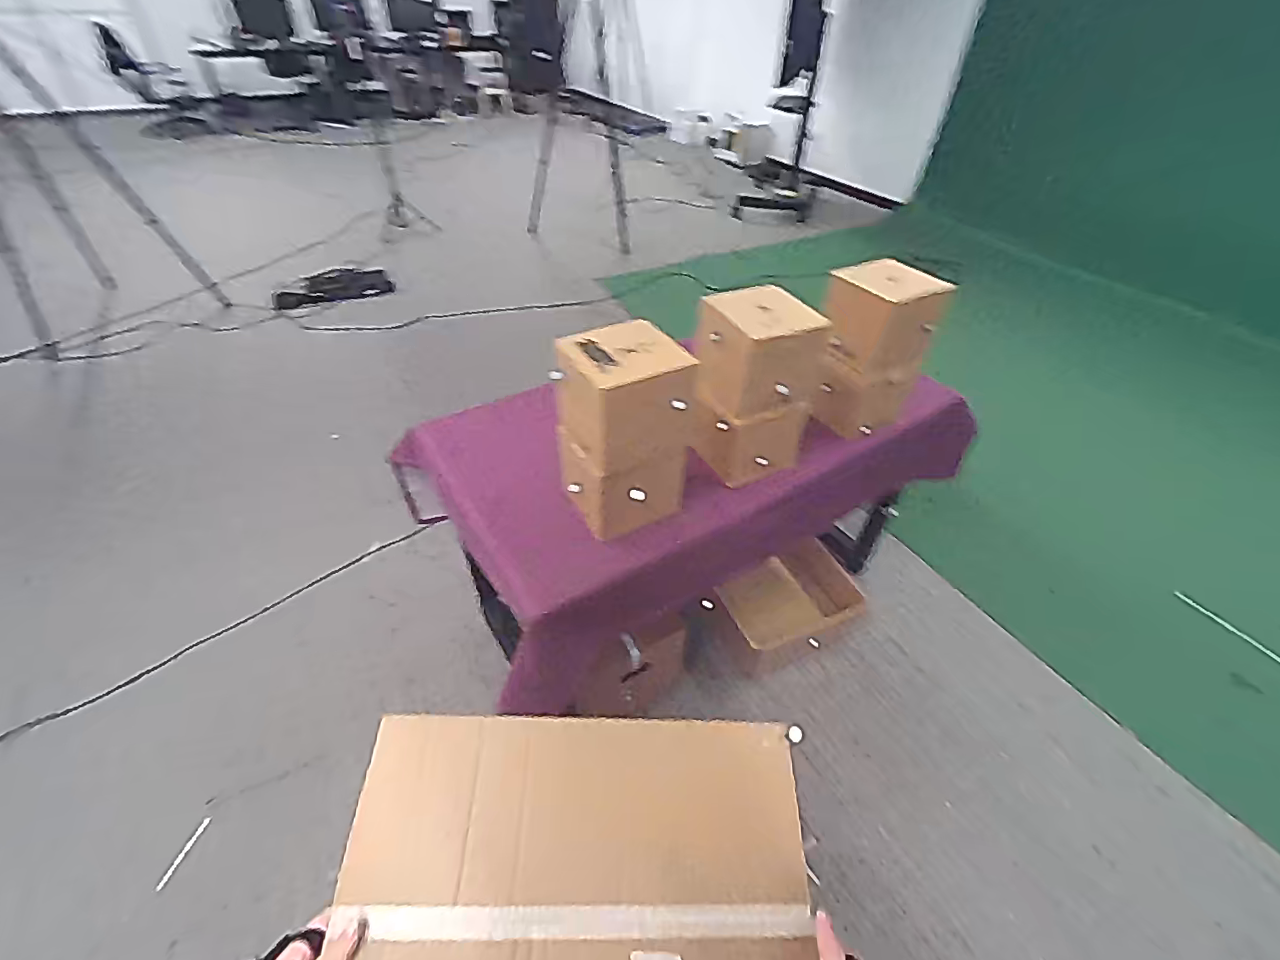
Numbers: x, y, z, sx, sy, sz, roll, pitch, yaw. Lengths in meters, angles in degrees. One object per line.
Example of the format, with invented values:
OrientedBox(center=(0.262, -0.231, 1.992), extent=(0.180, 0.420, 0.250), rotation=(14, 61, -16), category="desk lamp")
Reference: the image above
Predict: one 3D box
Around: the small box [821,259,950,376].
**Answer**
OrientedBox(center=(0.502, -0.344, 1.145), extent=(0.179, 0.176, 0.168), rotation=(-21, 47, -22), category="small box")

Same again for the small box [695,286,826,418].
OrientedBox(center=(0.217, -0.244, 1.029), extent=(0.168, 0.176, 0.179), rotation=(-17, 47, -18), category="small box")

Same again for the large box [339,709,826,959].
OrientedBox(center=(-0.054, 0.447, 0.580), extent=(0.408, 0.320, 0.320), rotation=(4, 56, -3), category="large box")

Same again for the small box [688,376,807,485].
OrientedBox(center=(0.214, -0.120, 1.137), extent=(0.168, 0.176, 0.179), rotation=(-18, 48, -19), category="small box")

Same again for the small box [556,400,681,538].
OrientedBox(center=(-0.039, -0.019, 1.017), extent=(0.179, 0.176, 0.168), rotation=(-21, 49, -22), category="small box")

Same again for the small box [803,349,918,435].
OrientedBox(center=(0.495, -0.223, 1.254), extent=(0.168, 0.176, 0.179), rotation=(-21, 47, -23), category="small box")
